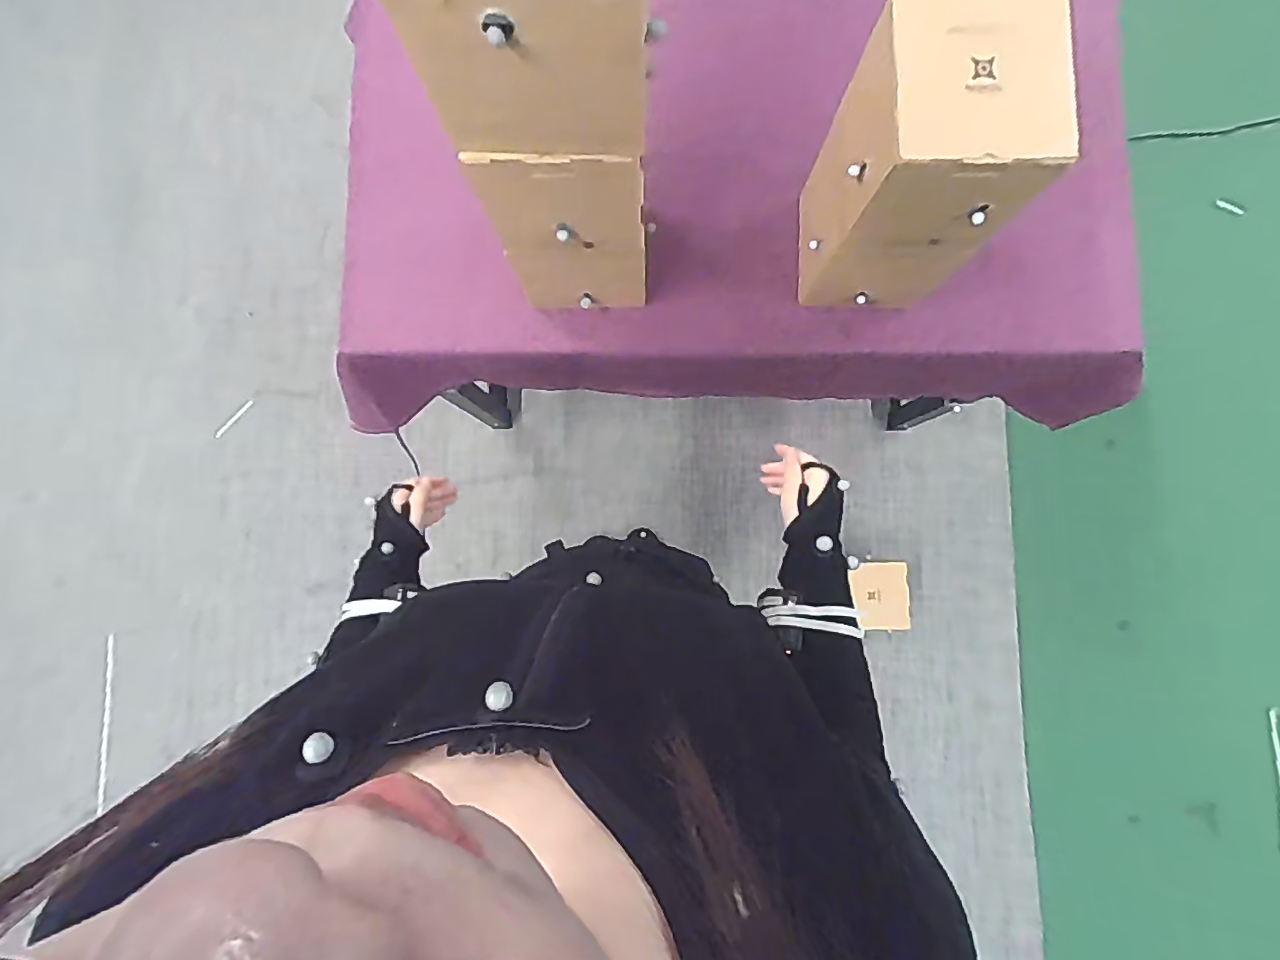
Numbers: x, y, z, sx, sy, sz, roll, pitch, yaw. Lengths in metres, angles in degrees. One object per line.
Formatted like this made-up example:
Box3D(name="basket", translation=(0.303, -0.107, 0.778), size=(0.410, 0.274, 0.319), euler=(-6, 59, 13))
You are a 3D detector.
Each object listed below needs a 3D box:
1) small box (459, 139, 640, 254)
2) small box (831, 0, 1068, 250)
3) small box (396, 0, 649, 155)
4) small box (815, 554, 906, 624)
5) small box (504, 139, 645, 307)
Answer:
Box3D(name="small box", translation=(-0.085, -0.373, 0.590), size=(0.168, 0.176, 0.179), euler=(0, 85, 1))
Box3D(name="small box", translation=(0.316, -0.369, 0.586), size=(0.168, 0.176, 0.179), euler=(1, 85, 1))
Box3D(name="small box", translation=(-0.083, -0.389, 0.426), size=(0.179, 0.176, 0.168), euler=(2, 85, 0))
Box3D(name="small box", translation=(0.570, 0.284, 1.423), size=(0.179, 0.176, 0.168), euler=(-2, 85, 0))
Box3D(name="small box", translation=(-0.084, -0.353, 0.754), size=(0.179, 0.176, 0.168), euler=(-1, 84, 0))
